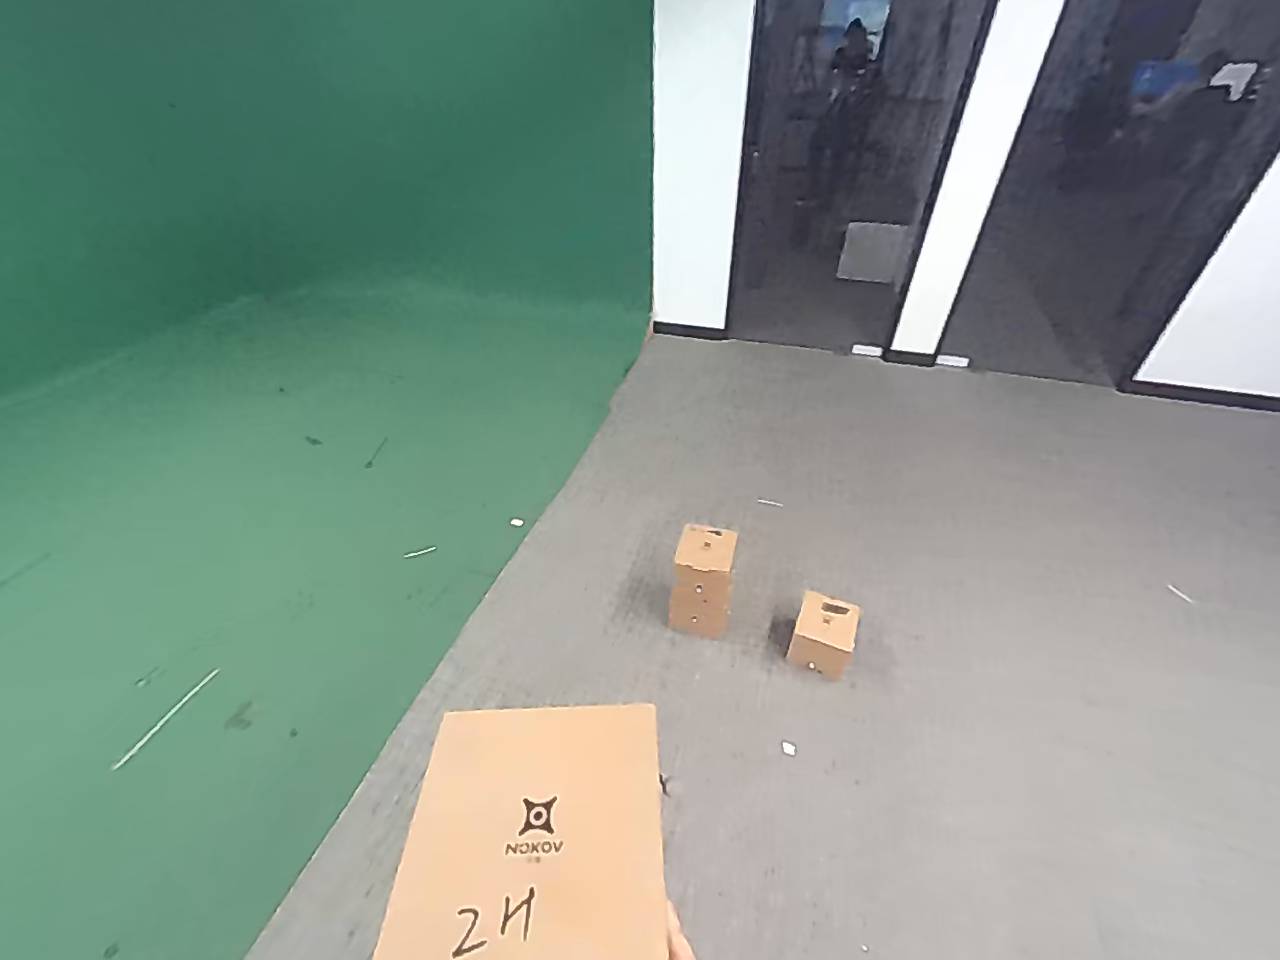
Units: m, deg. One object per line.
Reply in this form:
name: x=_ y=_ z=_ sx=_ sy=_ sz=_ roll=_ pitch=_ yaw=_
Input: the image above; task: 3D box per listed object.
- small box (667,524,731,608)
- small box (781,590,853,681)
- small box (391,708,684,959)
small box: x=0.182 y=0.266 z=1.661 sx=0.168 sy=0.176 sz=0.179 roll=10 pitch=42 yaw=12
small box: x=0.542 y=0.478 z=1.663 sx=0.168 sy=0.176 sz=0.179 roll=16 pitch=44 yaw=18
small box: x=-0.056 y=0.295 z=0.398 sx=0.168 sy=0.176 sz=0.179 roll=-2 pitch=35 yaw=0
